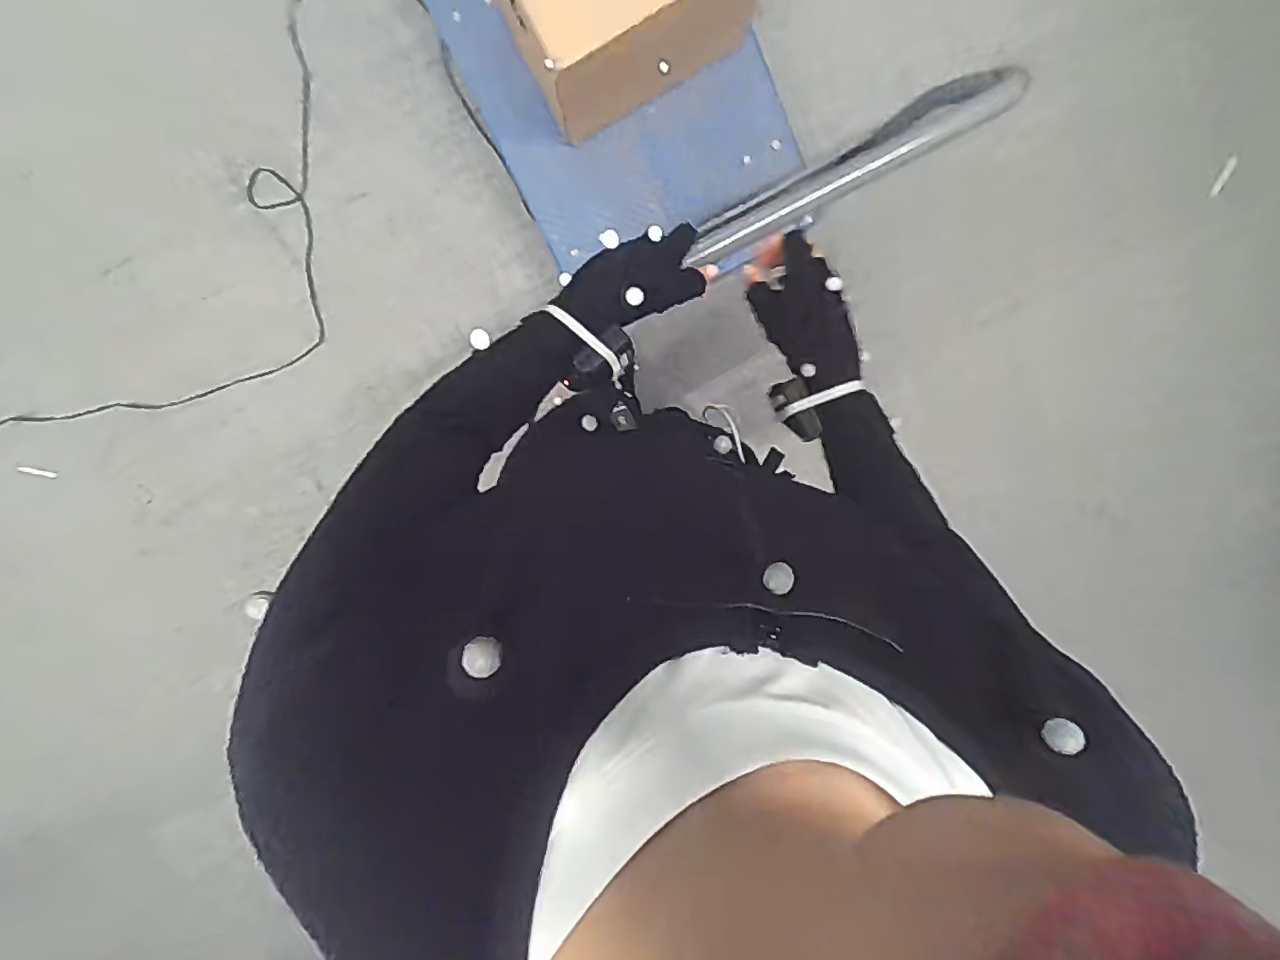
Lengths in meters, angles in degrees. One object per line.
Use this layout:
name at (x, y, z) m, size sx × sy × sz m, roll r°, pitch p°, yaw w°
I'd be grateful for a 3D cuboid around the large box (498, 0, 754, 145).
large box at (-0.035, -0.896, 0.958) m, size 0.408 × 0.320 × 0.320 m, roll -28°, pitch 101°, yaw 5°
